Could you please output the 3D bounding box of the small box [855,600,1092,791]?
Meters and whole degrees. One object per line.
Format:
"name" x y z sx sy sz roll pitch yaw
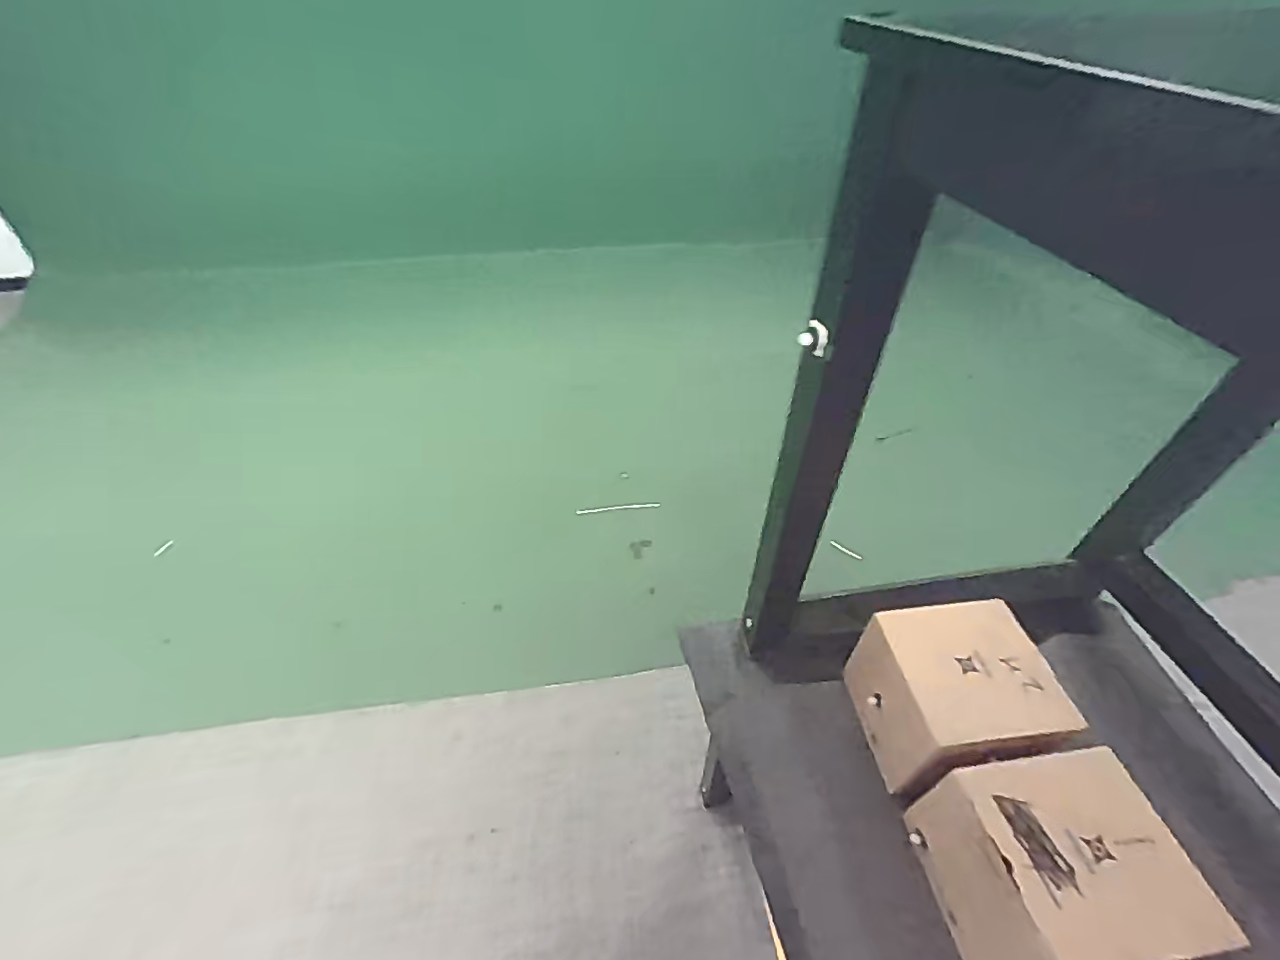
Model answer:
"small box" 0.391 0.273 0.680 0.179 0.176 0.168 -4 45 -4
